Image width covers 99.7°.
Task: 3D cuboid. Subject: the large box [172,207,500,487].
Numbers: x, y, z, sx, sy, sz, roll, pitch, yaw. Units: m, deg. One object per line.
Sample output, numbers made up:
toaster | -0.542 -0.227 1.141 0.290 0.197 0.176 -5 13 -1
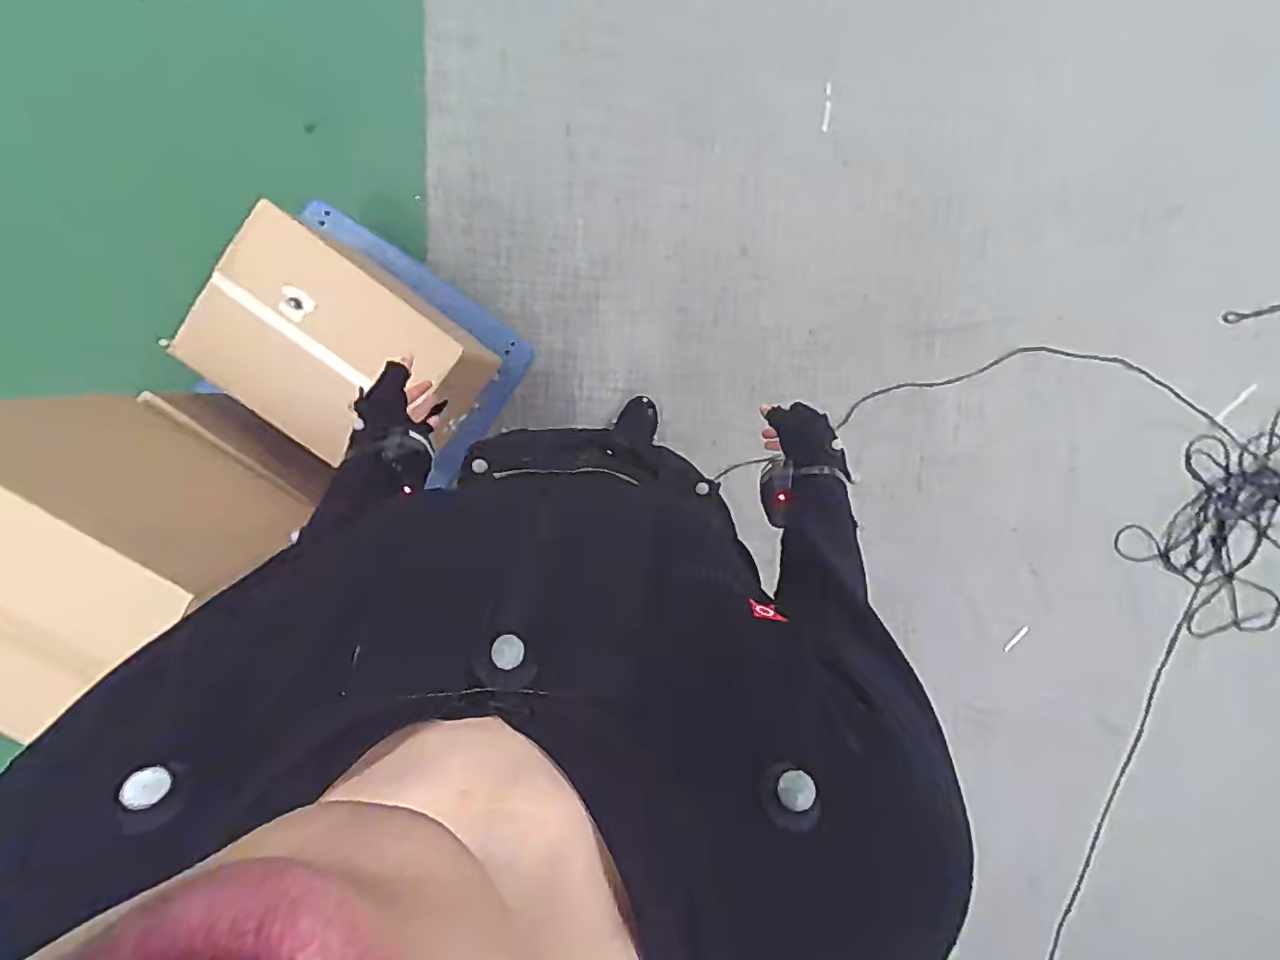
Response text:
large box | -0.557 -0.243 1.076 0.408 0.320 0.320 37 96 -6
